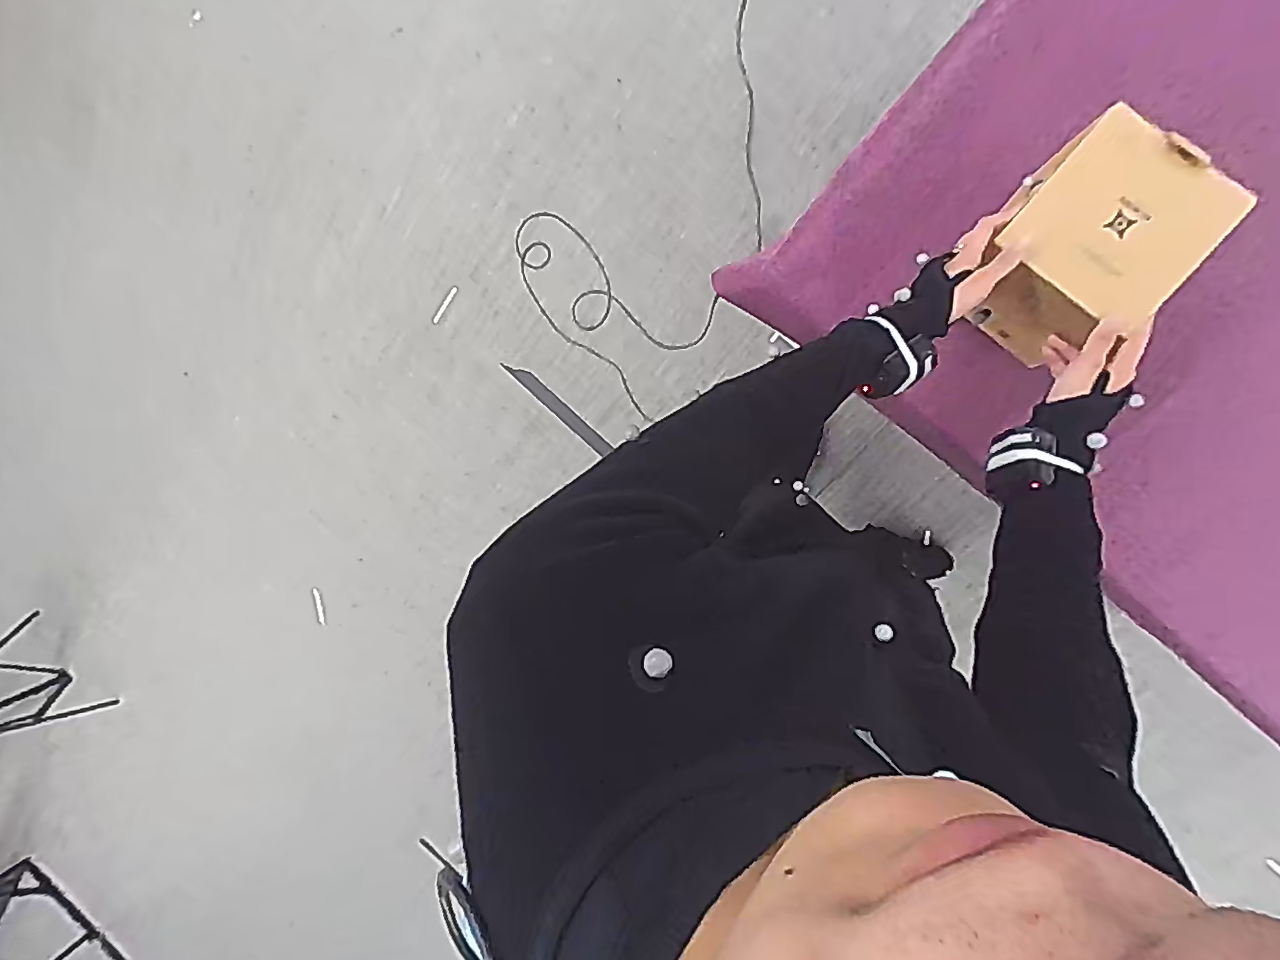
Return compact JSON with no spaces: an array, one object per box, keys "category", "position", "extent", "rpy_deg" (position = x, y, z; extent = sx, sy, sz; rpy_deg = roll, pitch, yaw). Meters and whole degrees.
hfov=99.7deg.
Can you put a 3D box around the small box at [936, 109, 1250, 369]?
[{"category":"small box","position":[0.482,-0.251,0.612],"extent":[0.168,0.176,0.179],"rpy_deg":[41,97,5]}]
